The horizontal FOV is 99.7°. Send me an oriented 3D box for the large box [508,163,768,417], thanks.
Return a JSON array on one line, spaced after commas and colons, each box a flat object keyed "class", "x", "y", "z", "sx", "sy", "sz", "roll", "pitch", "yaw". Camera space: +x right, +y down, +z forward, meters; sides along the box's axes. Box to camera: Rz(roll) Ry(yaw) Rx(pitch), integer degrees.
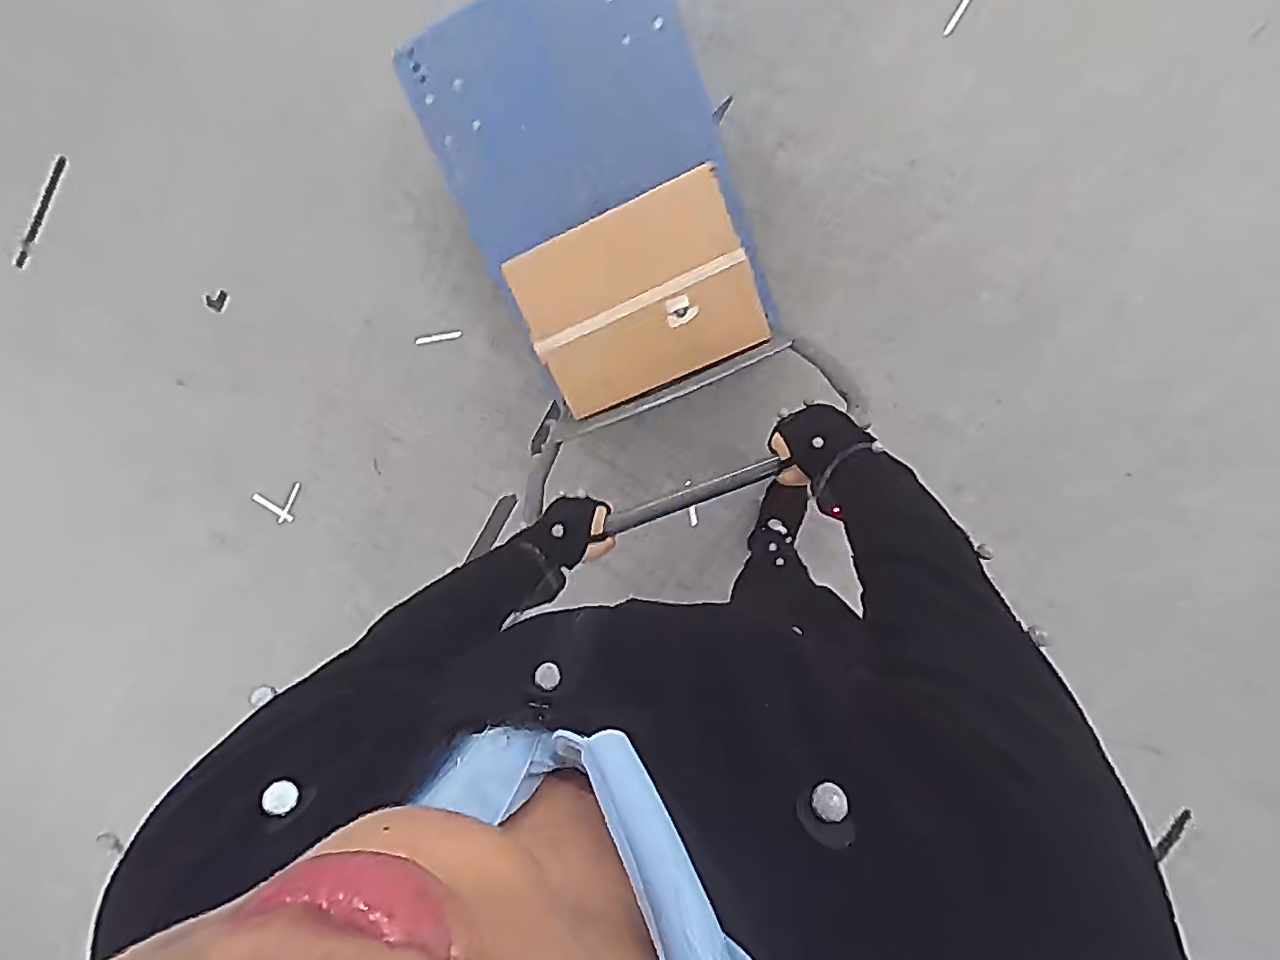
[{"class": "large box", "x": 0.001, "y": -0.379, "z": 1.135, "sx": 0.408, "sy": 0.320, "sz": 0.320, "roll": -23, "pitch": 108, "yaw": 9}]
